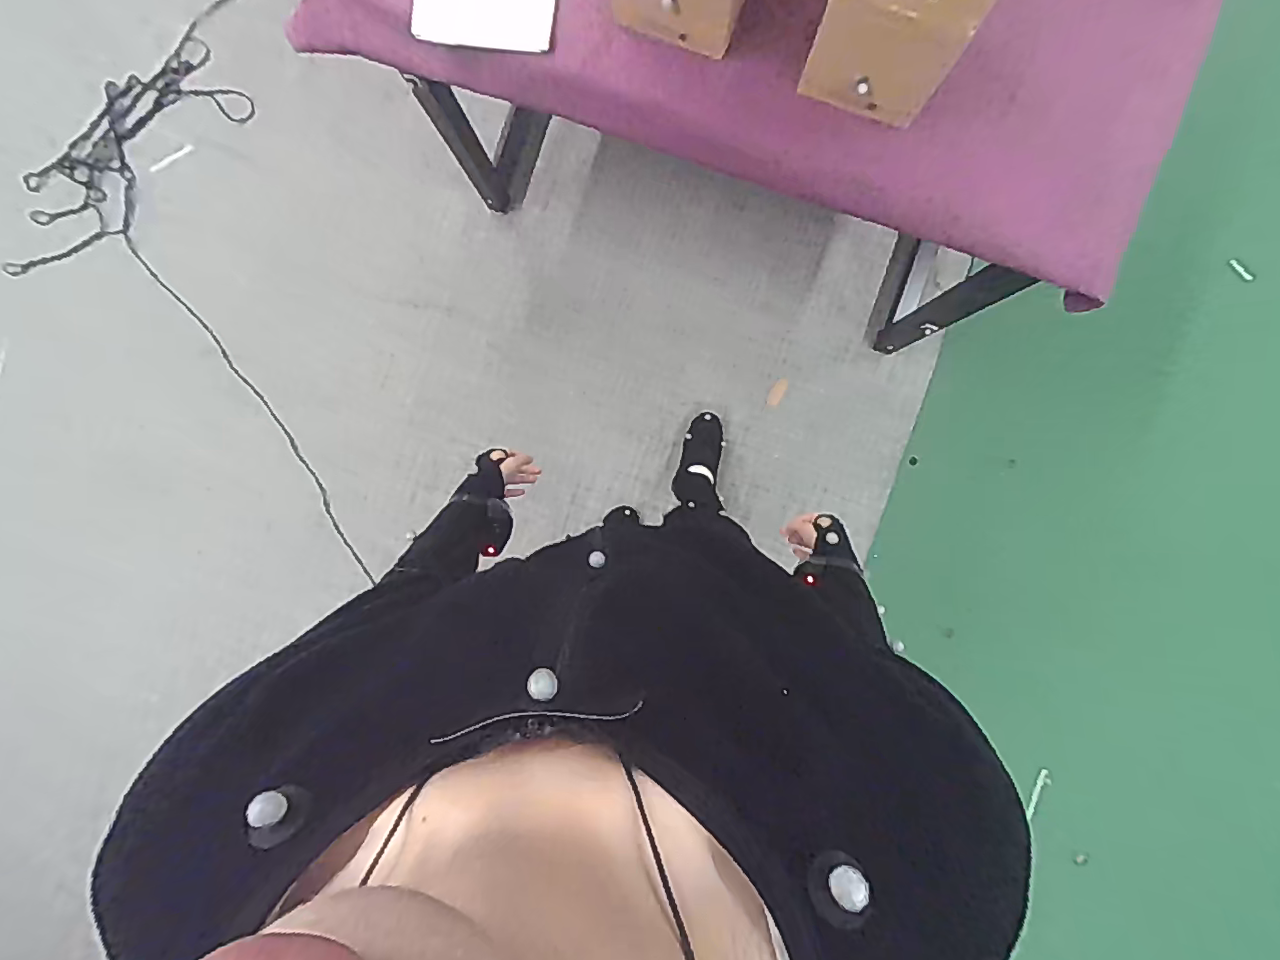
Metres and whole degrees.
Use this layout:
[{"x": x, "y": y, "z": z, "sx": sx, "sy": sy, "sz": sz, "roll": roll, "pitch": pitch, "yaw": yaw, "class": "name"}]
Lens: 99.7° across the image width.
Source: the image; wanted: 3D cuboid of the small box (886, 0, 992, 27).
[{"x": 0.322, "y": -0.607, "z": 0.520, "sx": 0.168, "sy": 0.176, "sz": 0.179, "roll": 21, "pitch": 91, "yaw": 1, "class": "small box"}]

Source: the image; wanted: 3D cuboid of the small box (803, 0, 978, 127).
[{"x": 0.325, "y": -0.602, "z": 0.683, "sx": 0.168, "sy": 0.176, "sz": 0.179, "roll": 21, "pitch": 91, "yaw": 2, "class": "small box"}]

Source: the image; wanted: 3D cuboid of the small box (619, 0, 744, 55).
[{"x": 0.069, "y": -0.702, "z": 0.689, "sx": 0.168, "sy": 0.176, "sz": 0.179, "roll": 21, "pitch": 92, "yaw": 0, "class": "small box"}]
